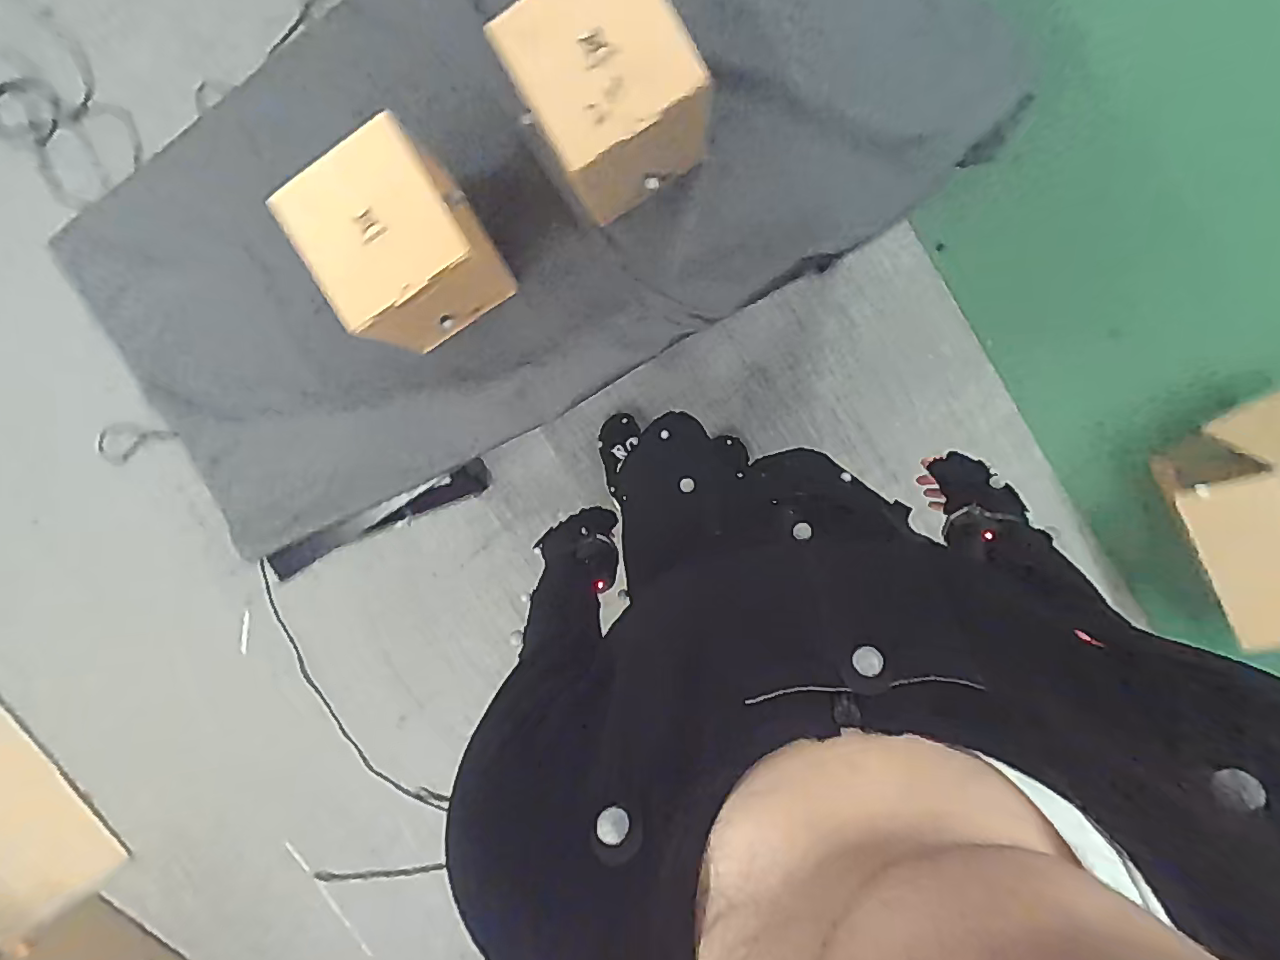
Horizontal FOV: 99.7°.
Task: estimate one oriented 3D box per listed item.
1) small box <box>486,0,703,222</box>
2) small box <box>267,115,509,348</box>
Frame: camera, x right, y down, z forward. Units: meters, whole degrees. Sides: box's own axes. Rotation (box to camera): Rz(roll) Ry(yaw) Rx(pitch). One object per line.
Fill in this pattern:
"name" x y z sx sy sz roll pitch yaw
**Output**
"small box" -0.043 -0.442 0.627 0.168 0.176 0.179 -31 93 7
"small box" -0.292 -0.284 0.666 0.168 0.176 0.179 -32 94 7
